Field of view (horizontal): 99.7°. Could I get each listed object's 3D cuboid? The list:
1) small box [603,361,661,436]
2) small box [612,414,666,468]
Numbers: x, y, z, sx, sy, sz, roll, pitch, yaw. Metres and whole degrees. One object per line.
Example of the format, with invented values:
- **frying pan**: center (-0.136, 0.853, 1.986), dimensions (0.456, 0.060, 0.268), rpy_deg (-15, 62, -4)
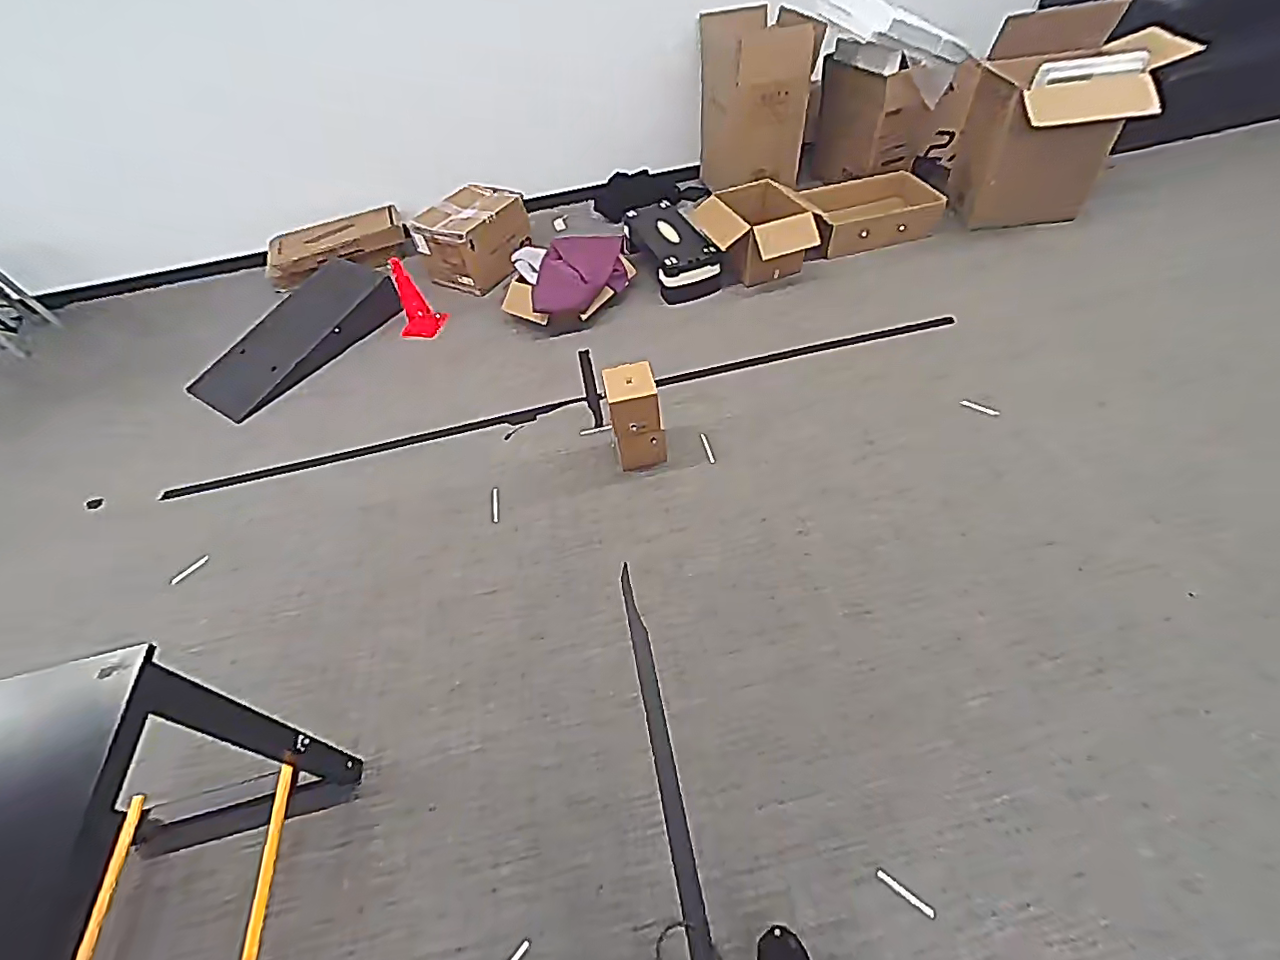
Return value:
- **small box**: center (-0.027, -0.278, 1.863), dimensions (0.168, 0.176, 0.179), rpy_deg (-12, 52, -2)
- **small box**: center (-0.005, -0.168, 1.981), dimensions (0.179, 0.176, 0.168), rpy_deg (-13, 50, -4)
